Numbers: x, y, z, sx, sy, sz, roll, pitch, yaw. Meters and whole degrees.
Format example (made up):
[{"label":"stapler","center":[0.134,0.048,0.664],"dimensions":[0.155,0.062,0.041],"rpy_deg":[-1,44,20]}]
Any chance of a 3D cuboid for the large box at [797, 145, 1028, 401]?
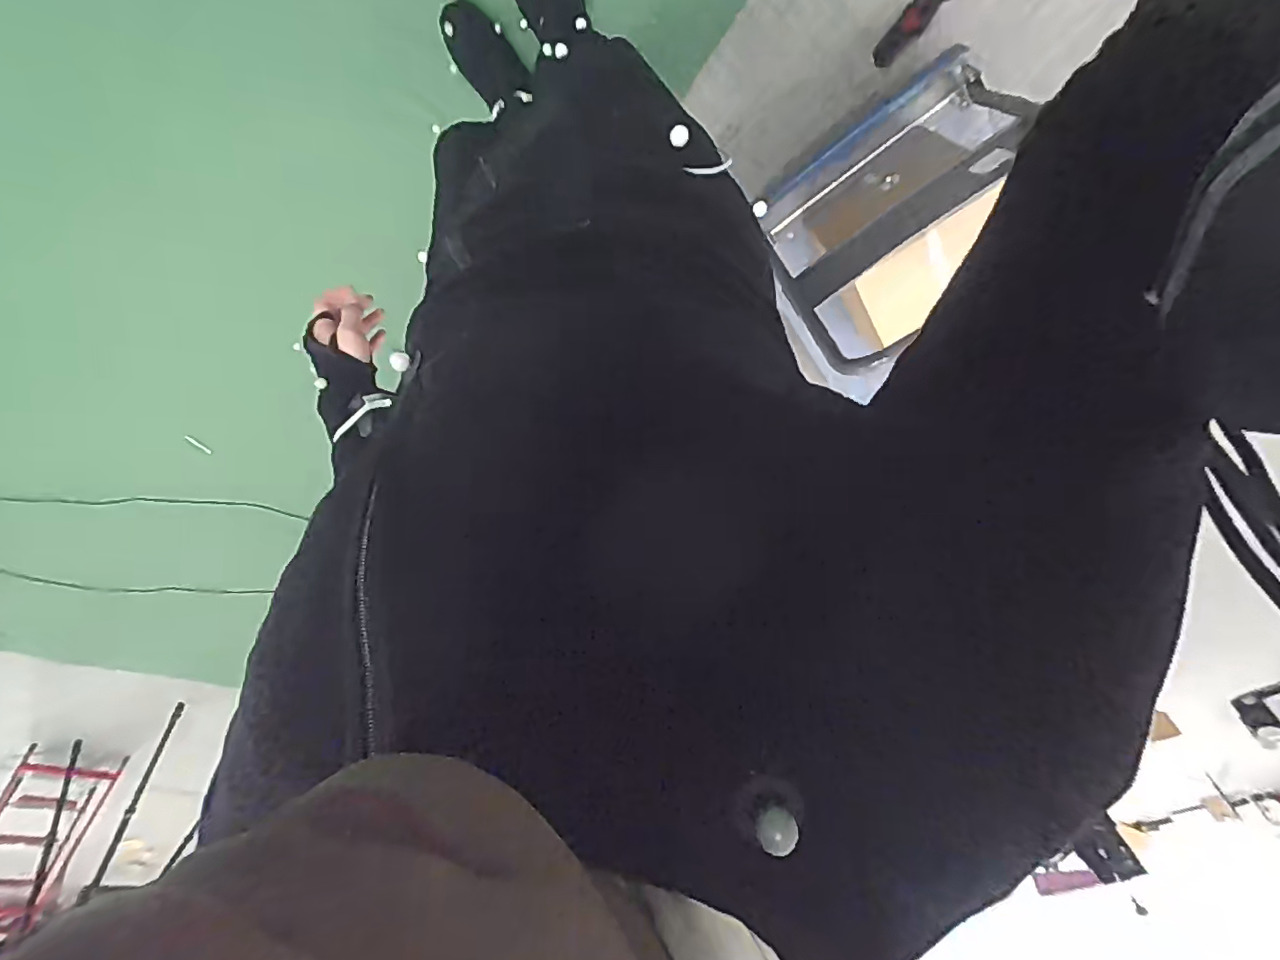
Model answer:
[{"label":"large box","center":[0.629,-0.474,1.270],"dimensions":[0.320,0.320,0.408],"rpy_deg":[-31,131,20]}]
